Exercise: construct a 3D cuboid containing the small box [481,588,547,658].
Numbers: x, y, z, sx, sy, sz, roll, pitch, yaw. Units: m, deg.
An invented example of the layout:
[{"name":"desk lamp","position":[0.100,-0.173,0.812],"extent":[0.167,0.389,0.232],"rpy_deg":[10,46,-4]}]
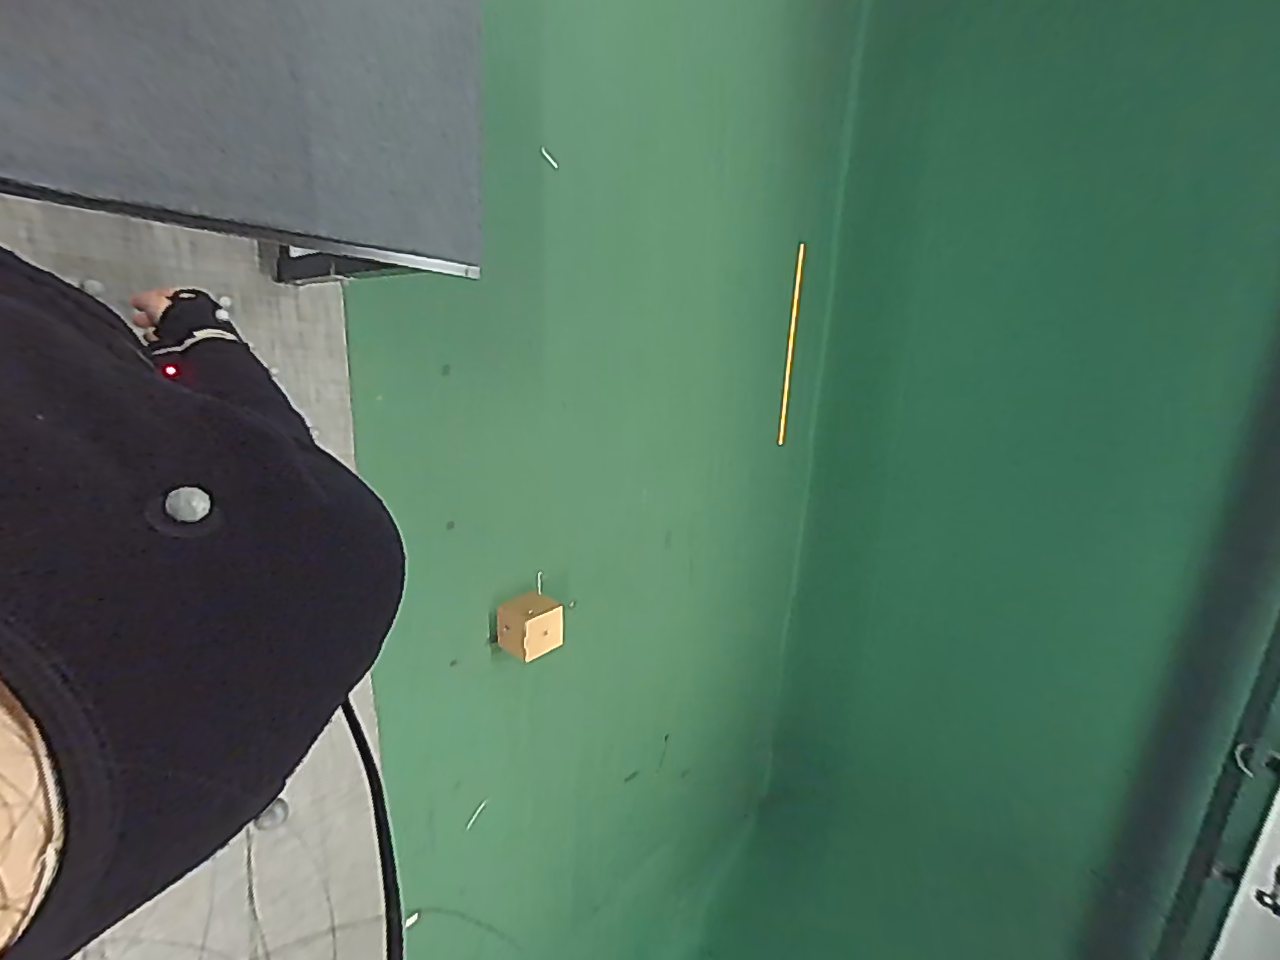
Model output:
[{"name":"small box","position":[-0.468,0.522,2.007],"extent":[0.179,0.176,0.168],"rpy_deg":[-15,113,-49]}]
